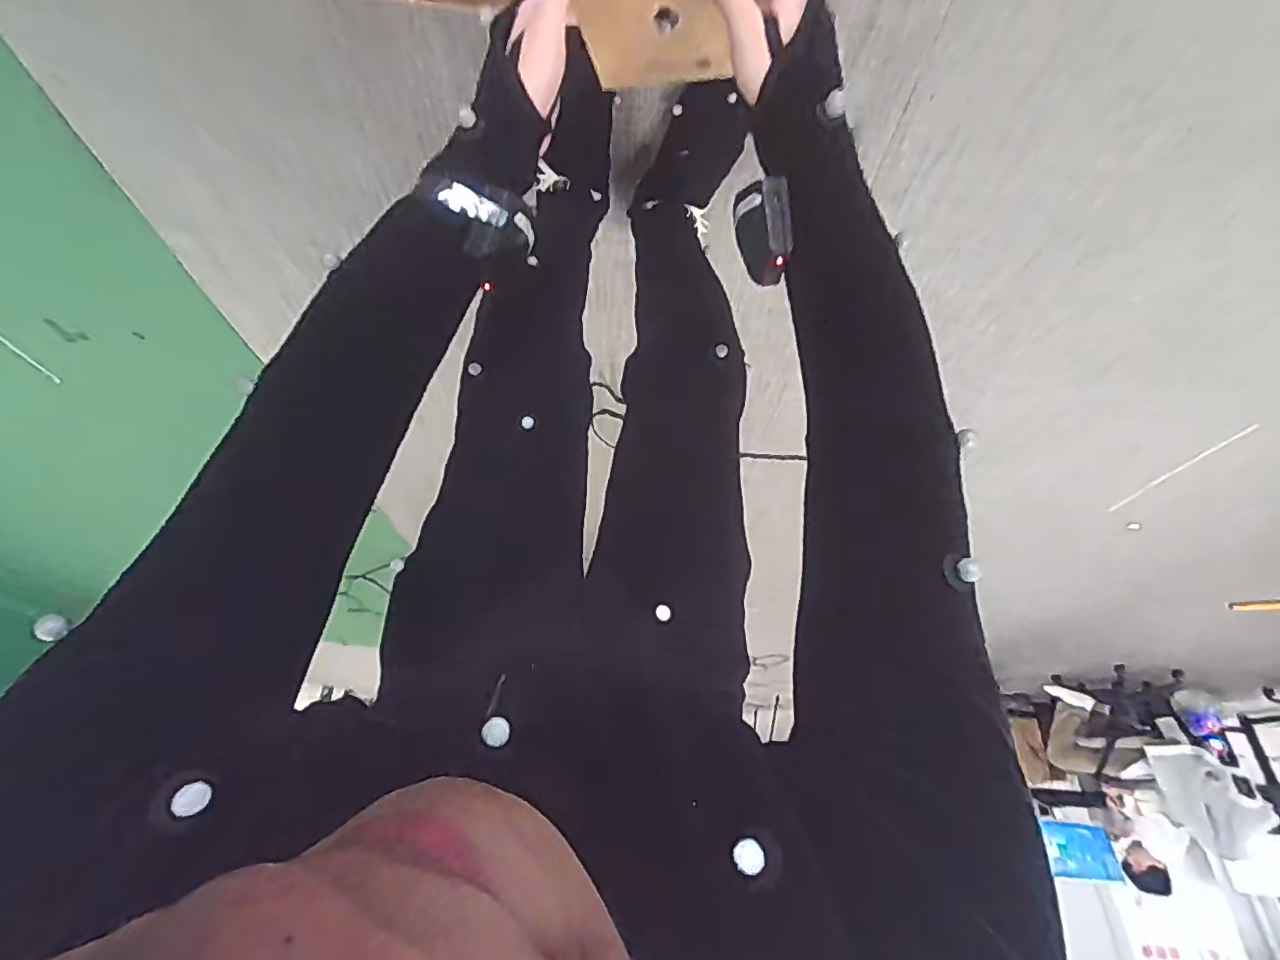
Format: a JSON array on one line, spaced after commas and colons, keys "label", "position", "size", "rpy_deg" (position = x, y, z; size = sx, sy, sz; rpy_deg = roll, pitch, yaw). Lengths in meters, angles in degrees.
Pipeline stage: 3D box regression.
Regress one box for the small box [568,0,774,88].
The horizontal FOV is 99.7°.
[{"label": "small box", "position": [0.030, -0.460, 0.444], "size": [0.168, 0.179, 0.176], "rpy_deg": [2, -179, 9]}]
